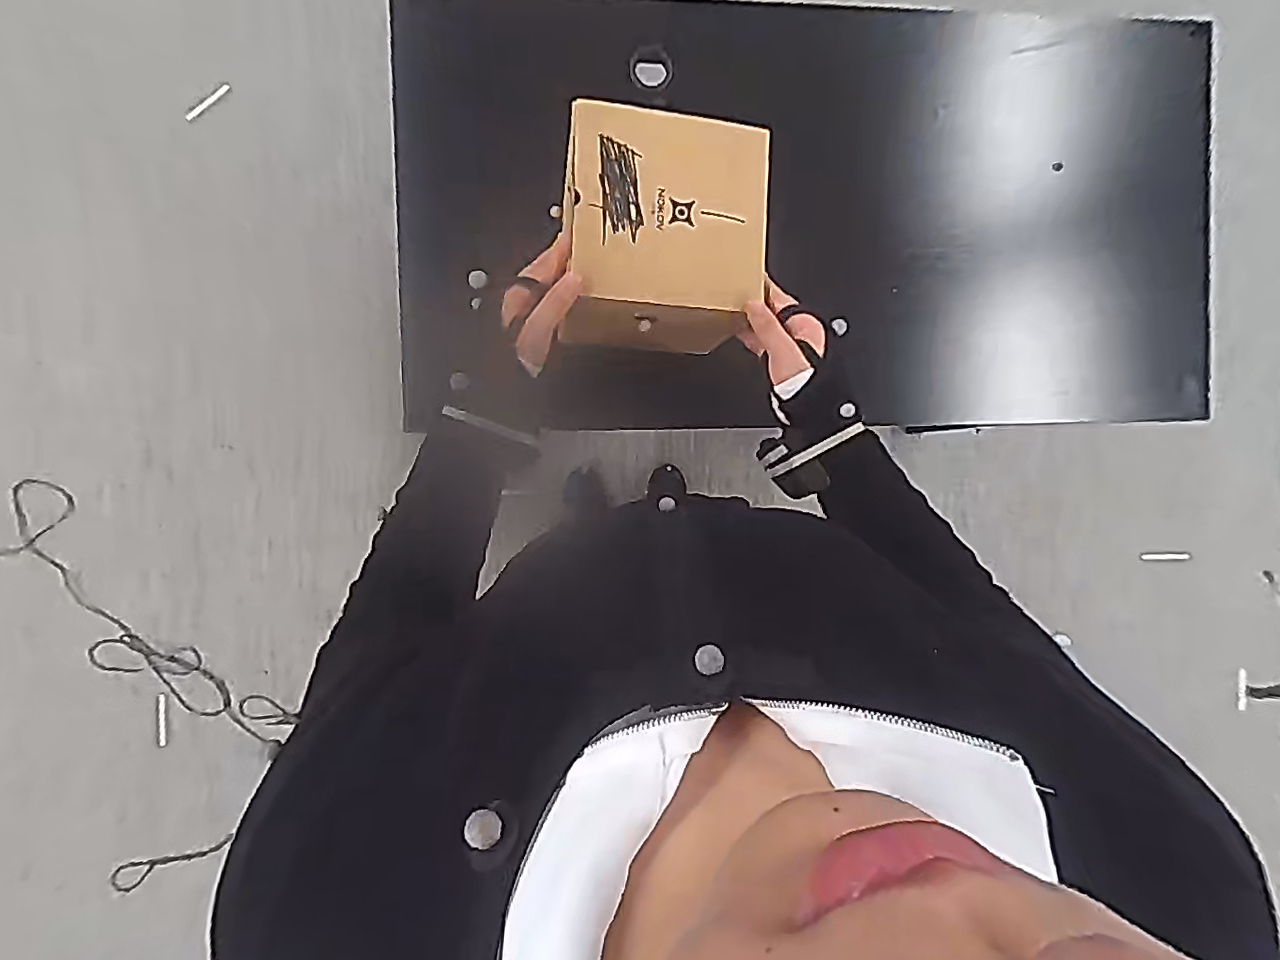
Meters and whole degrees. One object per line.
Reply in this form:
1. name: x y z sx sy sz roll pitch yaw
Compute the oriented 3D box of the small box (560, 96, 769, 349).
1. small box: 0.012 -0.236 0.544 0.179 0.176 0.168 2 90 -12
